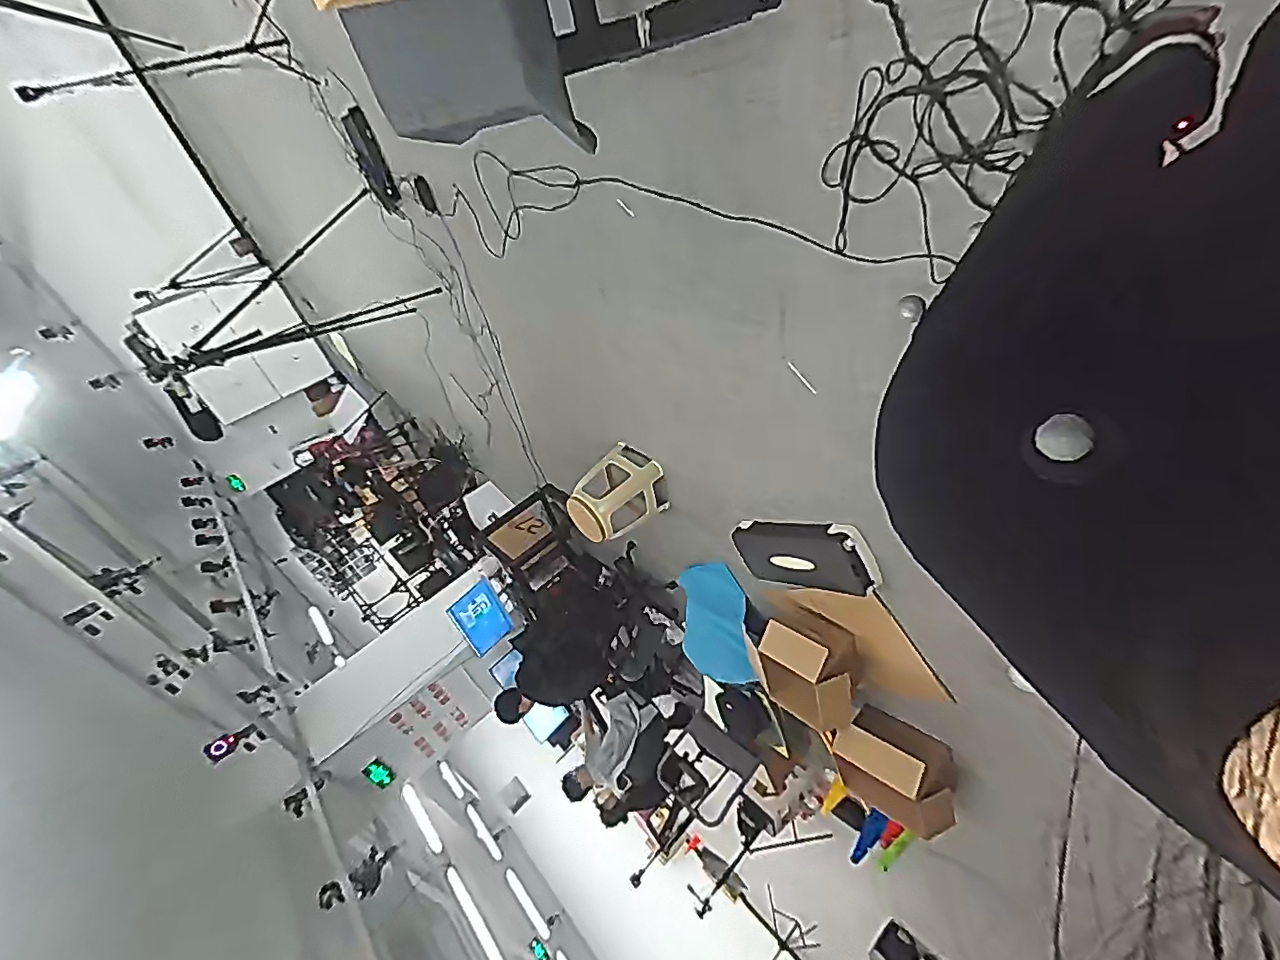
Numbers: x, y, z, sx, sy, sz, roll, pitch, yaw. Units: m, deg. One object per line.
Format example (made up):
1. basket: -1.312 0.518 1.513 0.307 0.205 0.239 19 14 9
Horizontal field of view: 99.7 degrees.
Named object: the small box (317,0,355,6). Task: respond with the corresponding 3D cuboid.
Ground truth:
1. small box: -0.449 -0.886 0.854 0.179 0.176 0.168 25 143 43
